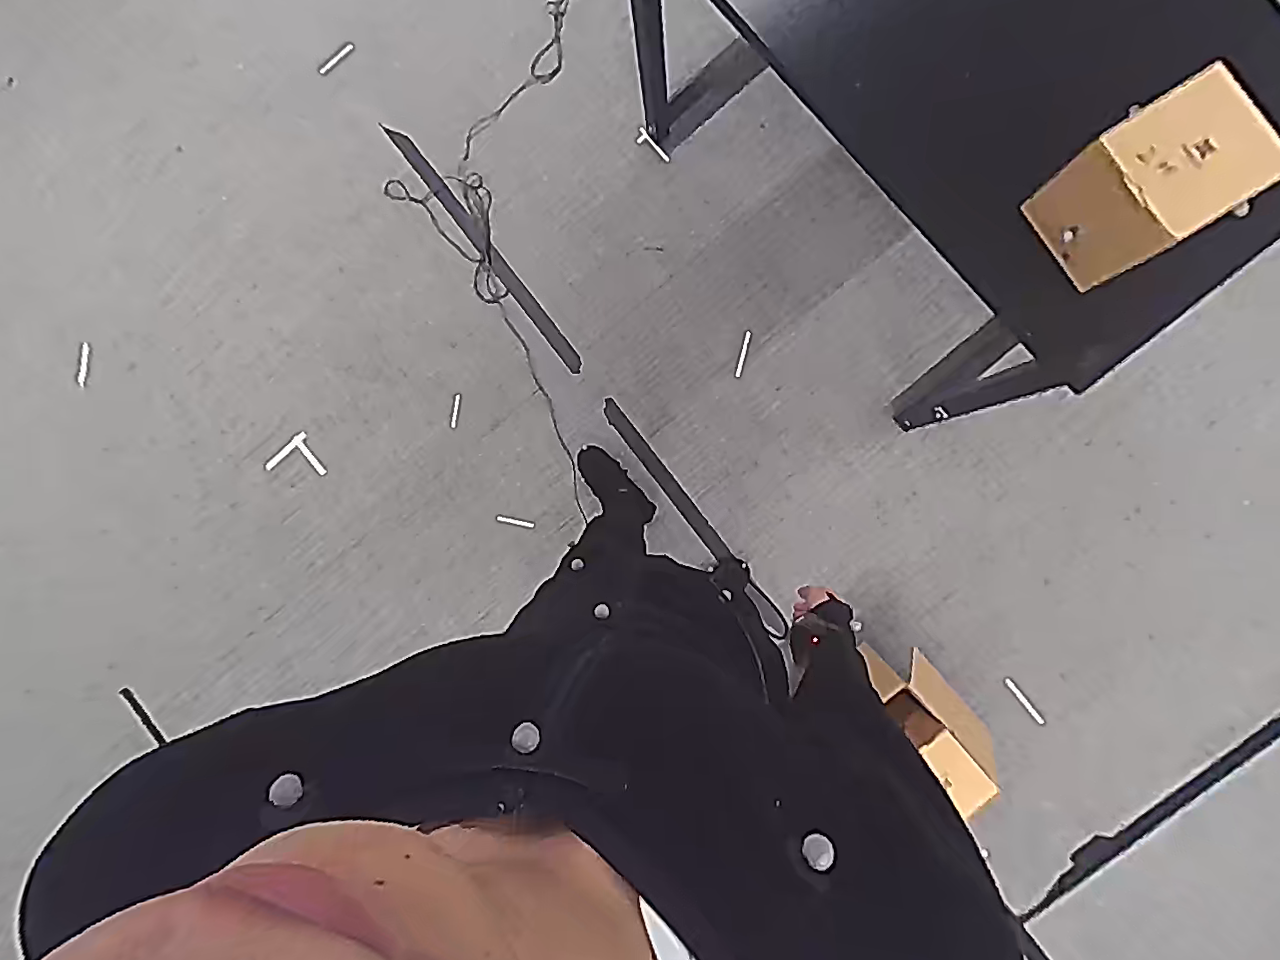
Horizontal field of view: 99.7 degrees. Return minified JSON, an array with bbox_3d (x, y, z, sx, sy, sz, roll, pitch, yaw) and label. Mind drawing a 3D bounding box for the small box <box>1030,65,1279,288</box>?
[{"bbox_3d":[0.708,-0.405,0.754,0.179,0.176,0.168,-32,85,4],"label":"small box"}]
